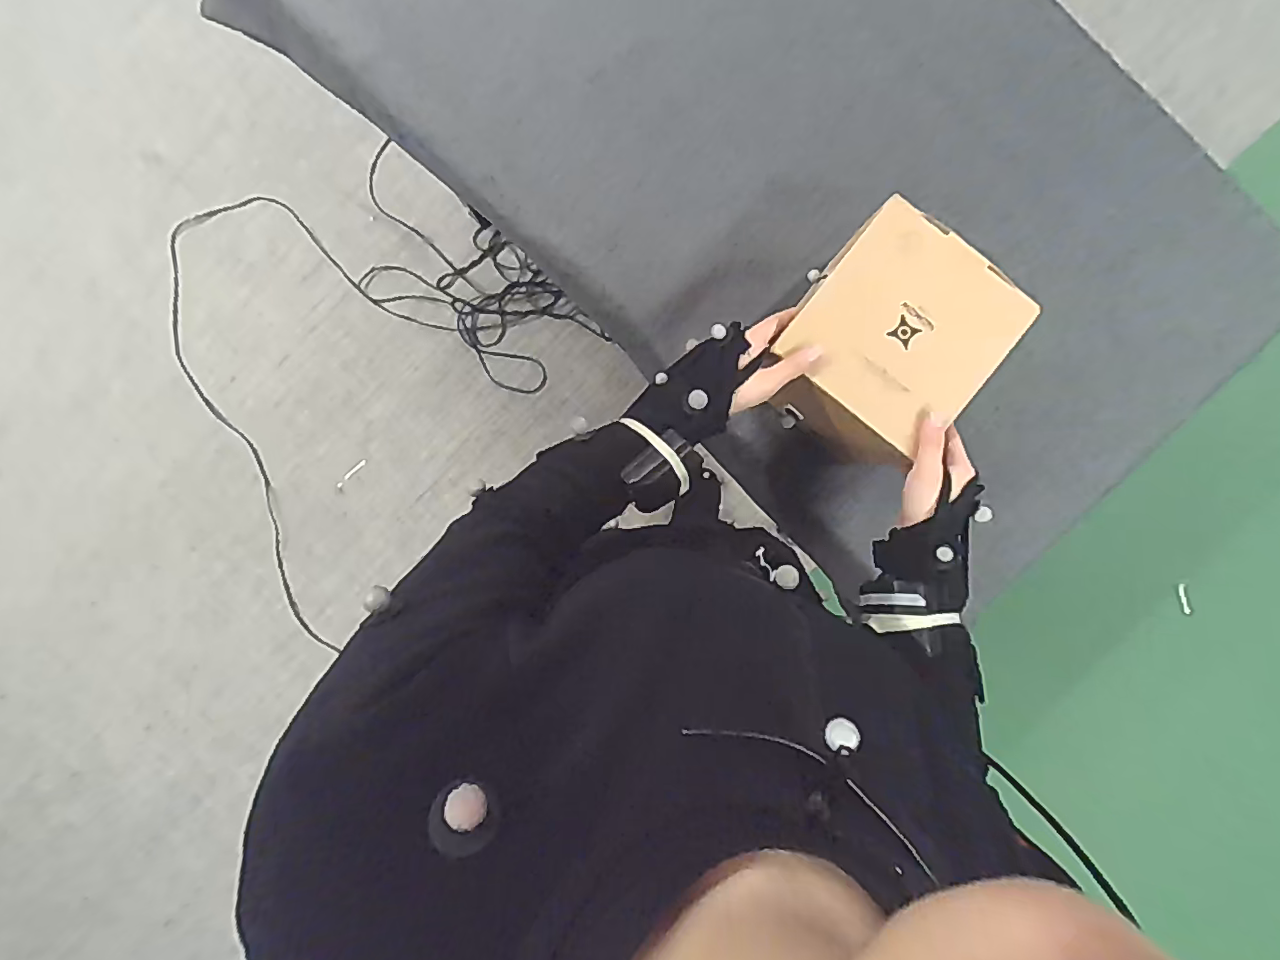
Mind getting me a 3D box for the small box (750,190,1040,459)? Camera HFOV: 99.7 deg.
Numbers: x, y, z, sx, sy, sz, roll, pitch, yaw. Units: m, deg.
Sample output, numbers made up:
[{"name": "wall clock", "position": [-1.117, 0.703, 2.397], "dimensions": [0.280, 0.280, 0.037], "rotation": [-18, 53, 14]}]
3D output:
[{"name": "small box", "position": [0.232, -0.137, 0.548], "dimensions": [0.168, 0.176, 0.179], "rotation": [37, 92, 0]}]
